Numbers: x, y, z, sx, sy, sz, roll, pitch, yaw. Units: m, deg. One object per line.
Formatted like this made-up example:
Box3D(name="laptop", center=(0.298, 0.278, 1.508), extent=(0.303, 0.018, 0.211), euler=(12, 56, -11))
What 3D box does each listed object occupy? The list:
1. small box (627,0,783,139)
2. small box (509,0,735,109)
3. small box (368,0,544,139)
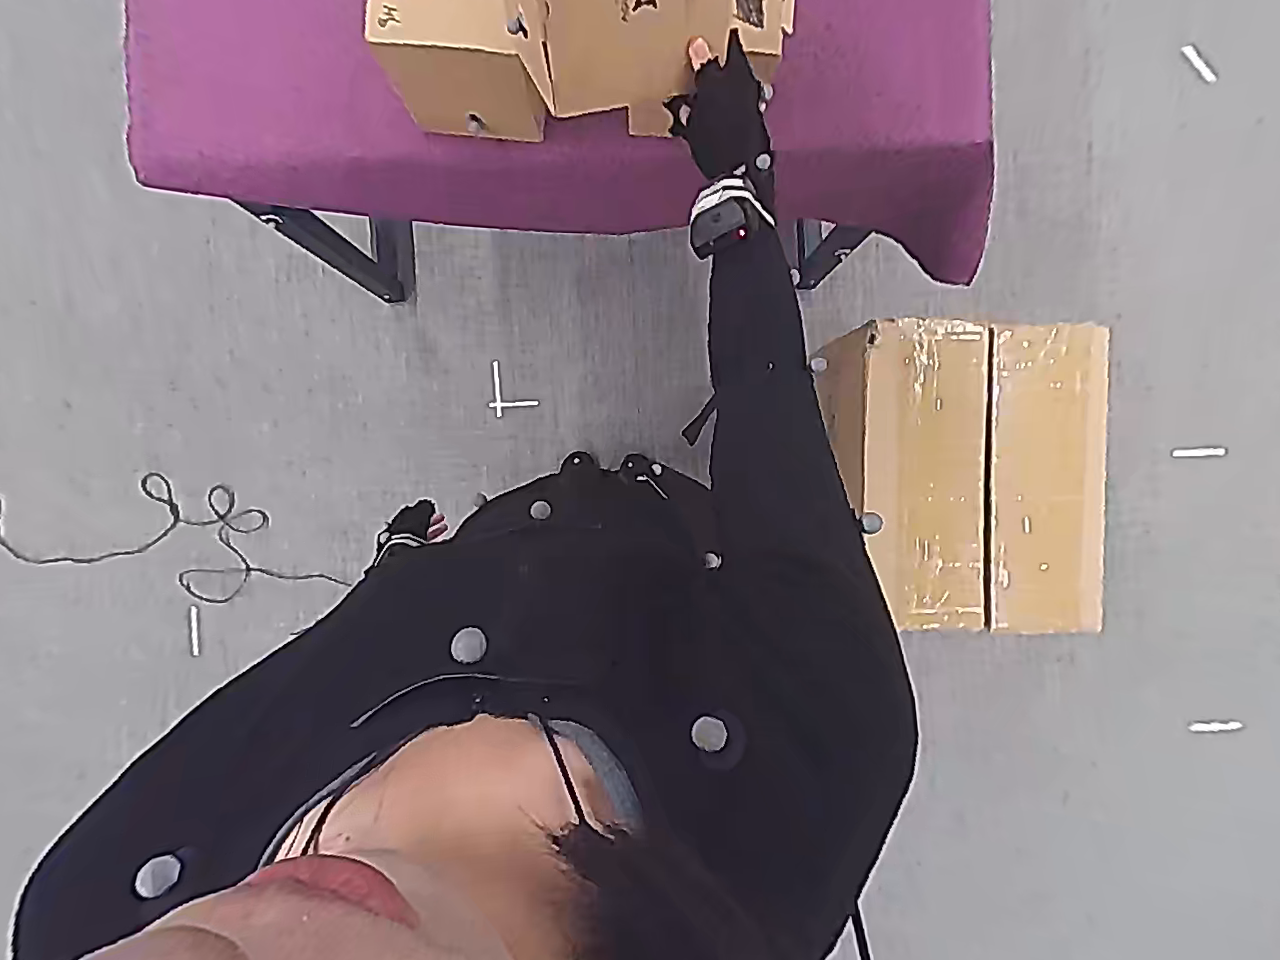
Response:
Box3D(name="small box", center=(0.076, -0.568, 0.692), extent=(0.179, 0.176, 0.168), euler=(3, 90, -1))
Box3D(name="small box", center=(-0.026, -0.473, 0.482), extent=(0.179, 0.168, 0.176), euler=(-19, 63, -11))
Box3D(name="small box", center=(-0.216, -0.566, 0.685), extent=(0.179, 0.176, 0.168), euler=(4, 90, -2))
